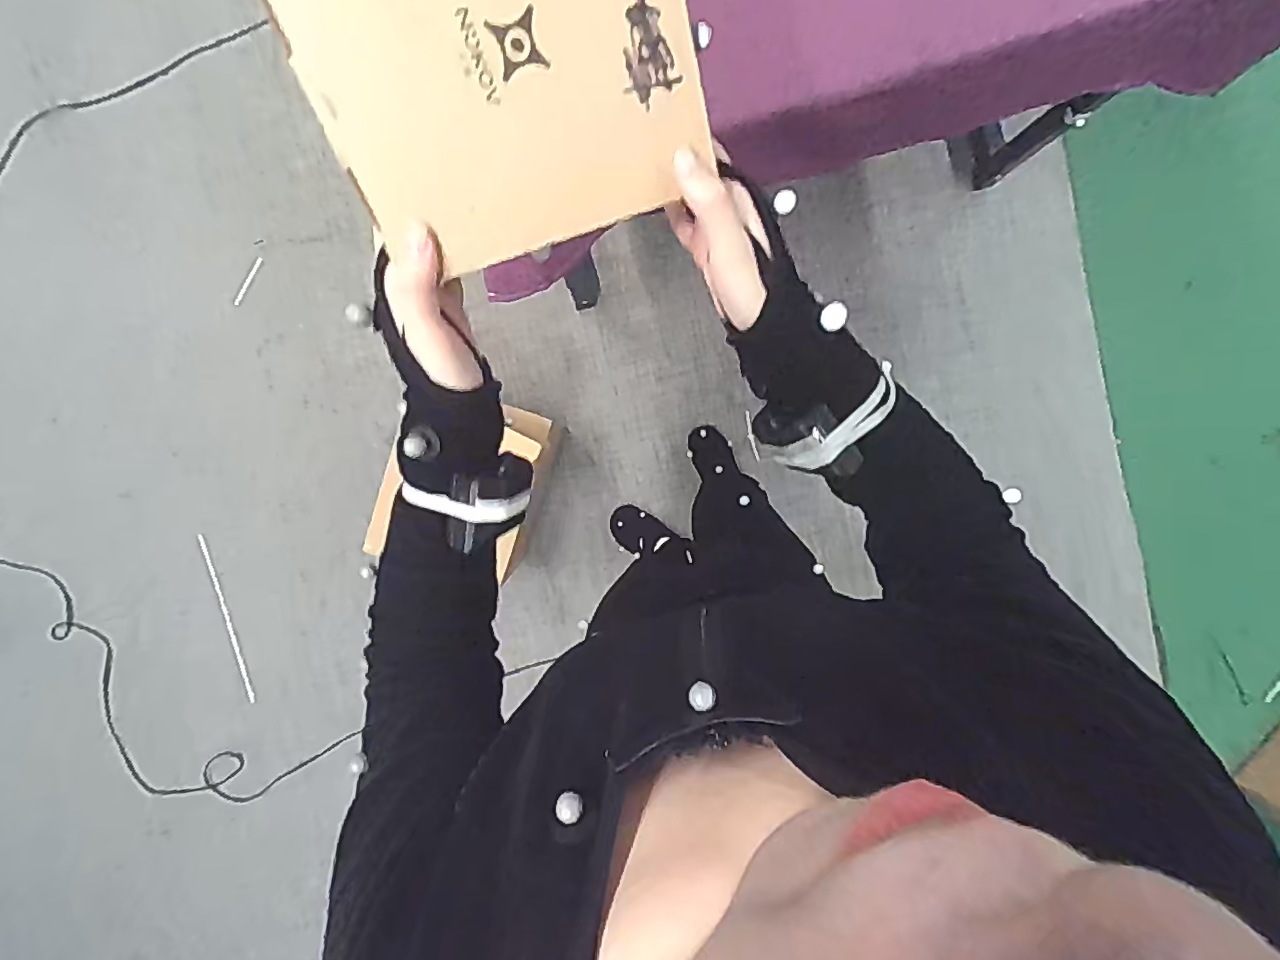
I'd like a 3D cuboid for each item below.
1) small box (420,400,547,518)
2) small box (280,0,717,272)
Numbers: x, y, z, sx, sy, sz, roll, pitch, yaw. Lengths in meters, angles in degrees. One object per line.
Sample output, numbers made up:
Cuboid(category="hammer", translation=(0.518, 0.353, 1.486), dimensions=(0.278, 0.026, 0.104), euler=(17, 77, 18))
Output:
Cuboid(category="small box", translation=(-0.302, -0.043, 1.083), dimensions=(0.179, 0.176, 0.168), euler=(27, 92, -8))
Cuboid(category="small box", translation=(-0.070, -0.240, 0.316), dimensions=(0.179, 0.176, 0.168), euler=(-17, 121, 3))
